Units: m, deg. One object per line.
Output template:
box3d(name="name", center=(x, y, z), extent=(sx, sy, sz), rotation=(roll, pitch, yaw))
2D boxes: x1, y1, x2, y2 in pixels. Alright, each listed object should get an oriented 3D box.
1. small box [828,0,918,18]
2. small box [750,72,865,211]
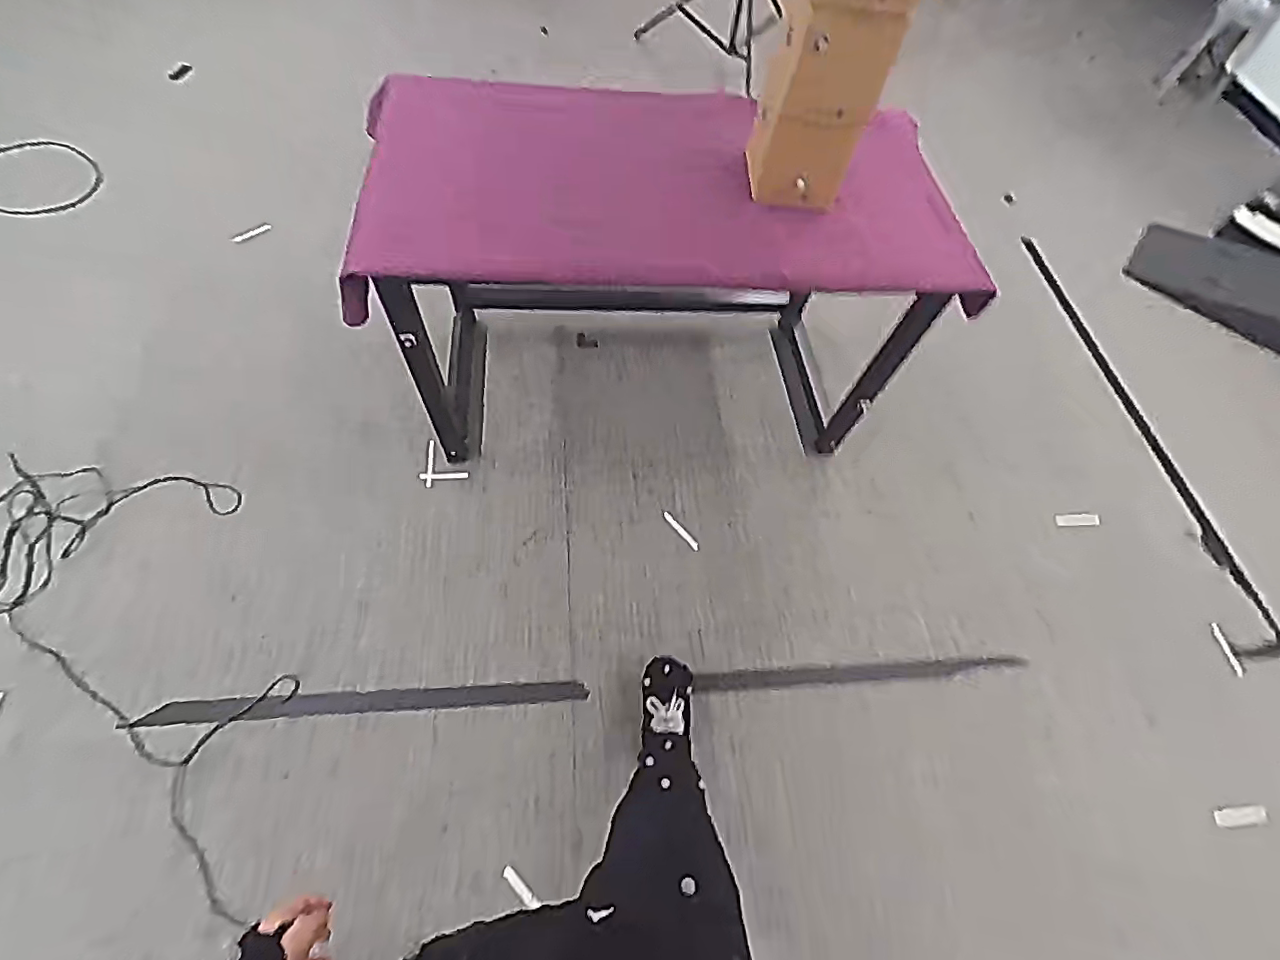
box3d(name="small box", center=(0.353, -0.829, 0.803), extent=(0.168, 0.176, 0.179), rotation=(5, 60, -4))
box3d(name="small box", center=(0.326, -0.679, 1.093), extent=(0.168, 0.176, 0.179), rotation=(3, 61, -3))
